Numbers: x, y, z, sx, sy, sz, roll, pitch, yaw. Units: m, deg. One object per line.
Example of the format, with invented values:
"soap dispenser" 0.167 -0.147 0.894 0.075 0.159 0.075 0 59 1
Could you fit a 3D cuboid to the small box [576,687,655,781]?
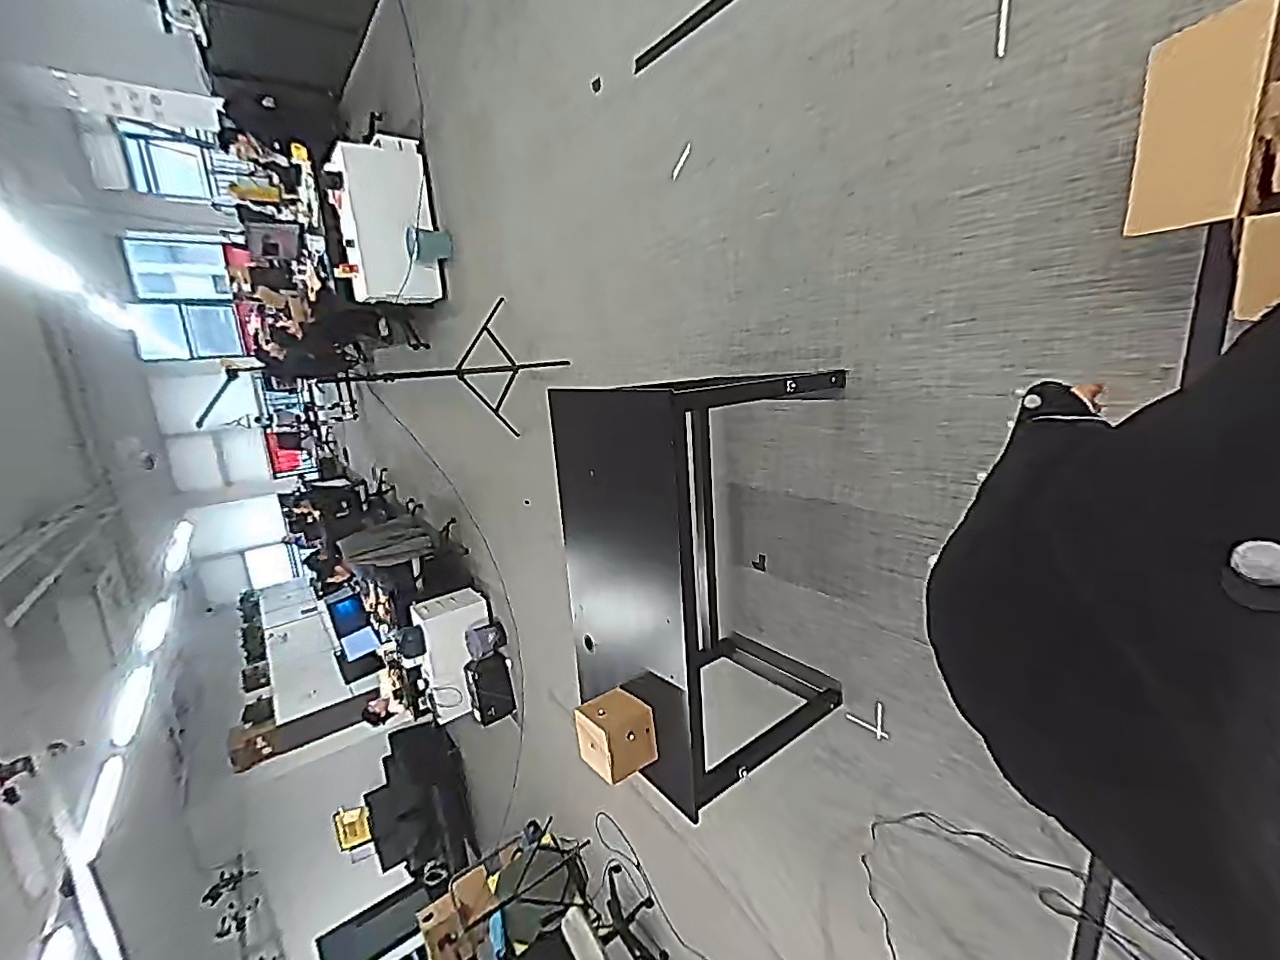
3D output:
"small box" -0.067 0.744 1.609 0.179 0.176 0.168 5 104 55
